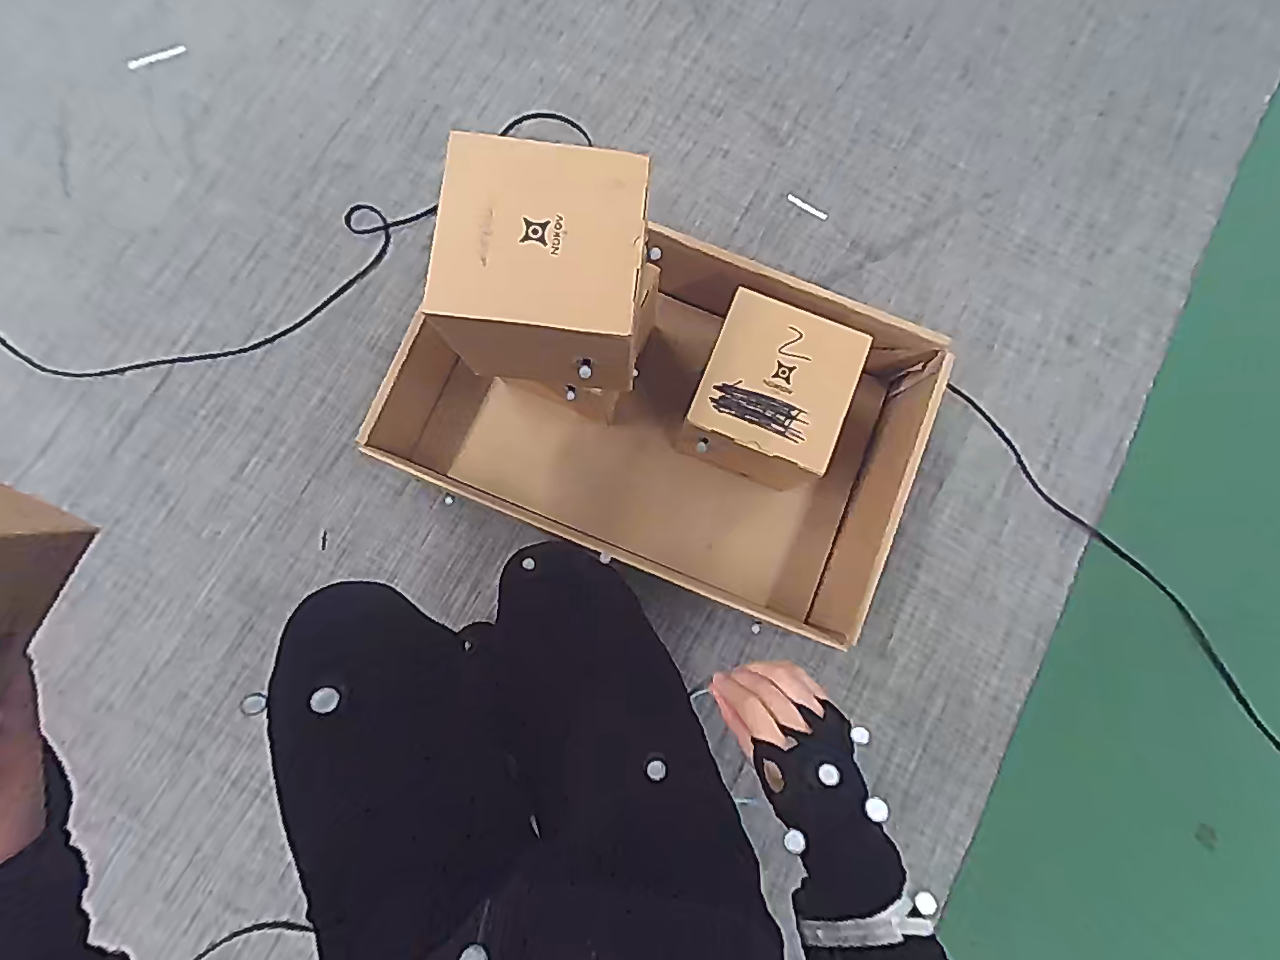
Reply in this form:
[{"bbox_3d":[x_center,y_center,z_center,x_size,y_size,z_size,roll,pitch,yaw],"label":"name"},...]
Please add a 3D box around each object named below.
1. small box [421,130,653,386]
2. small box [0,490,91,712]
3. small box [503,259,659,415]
[{"bbox_3d":[-0.086,-0.198,0.531,0.179,0.176,0.168,7,84,0],"label":"small box"},{"bbox_3d":[-0.382,0.059,0.188,0.179,0.176,0.168,28,87,-6],"label":"small box"},{"bbox_3d":[-0.091,-0.199,0.695,0.179,0.176,0.168,23,84,0],"label":"small box"}]
